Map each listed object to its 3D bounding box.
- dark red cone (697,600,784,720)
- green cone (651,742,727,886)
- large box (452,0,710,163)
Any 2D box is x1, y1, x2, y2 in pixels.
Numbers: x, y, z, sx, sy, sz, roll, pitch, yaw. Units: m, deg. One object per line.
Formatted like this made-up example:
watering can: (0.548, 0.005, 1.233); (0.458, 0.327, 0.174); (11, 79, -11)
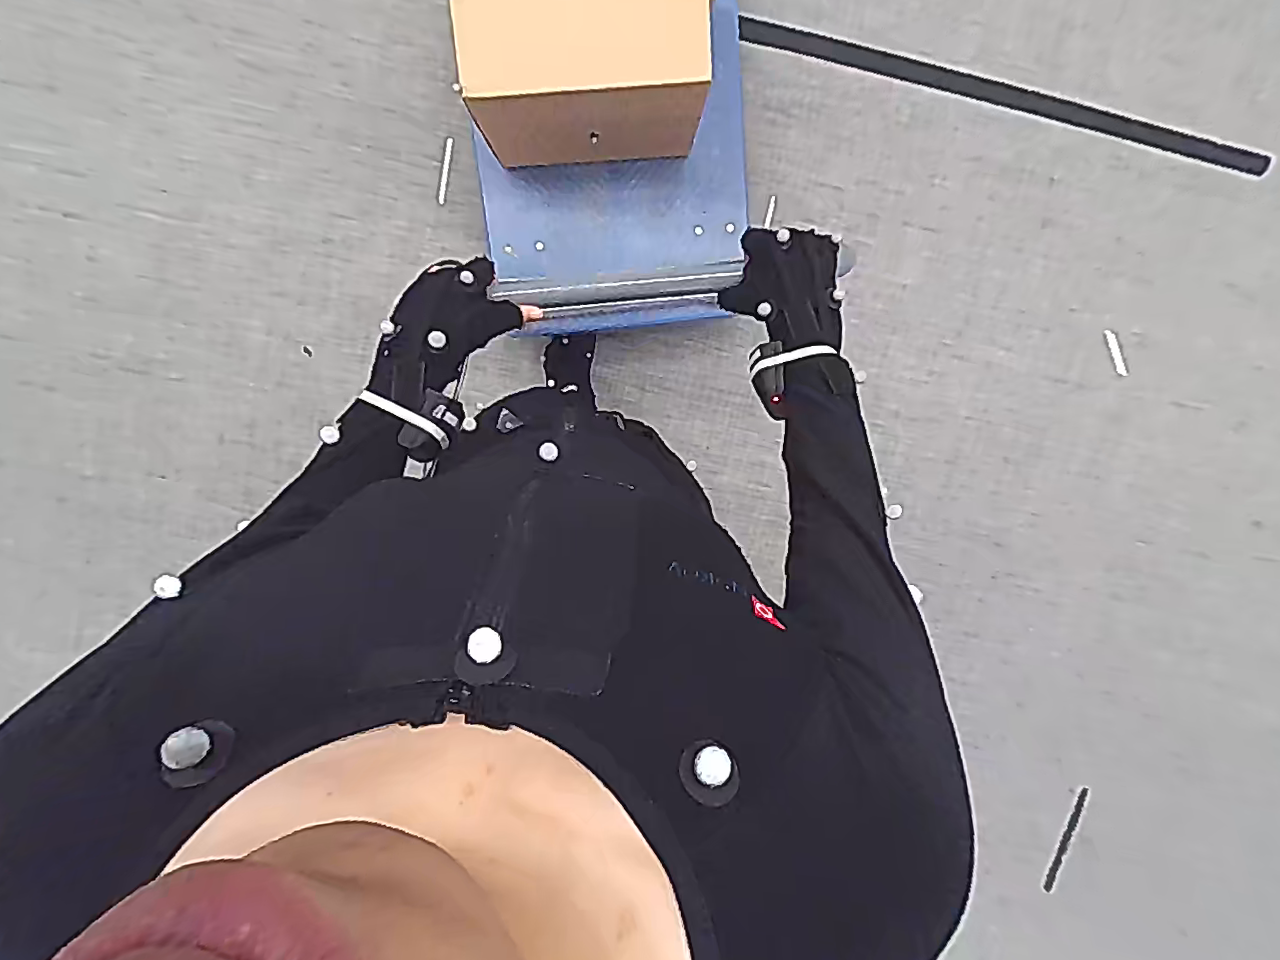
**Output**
dark red cone: (0.284, 0.477, 1.380); (0.201, 0.394, 0.202); (11, 101, -6)
green cone: (0.160, 0.935, 1.484); (0.202, 0.368, 0.200); (15, 100, -6)
large box: (-0.100, -0.809, 0.983); (0.408, 0.320, 0.320); (-5, 101, 0)
